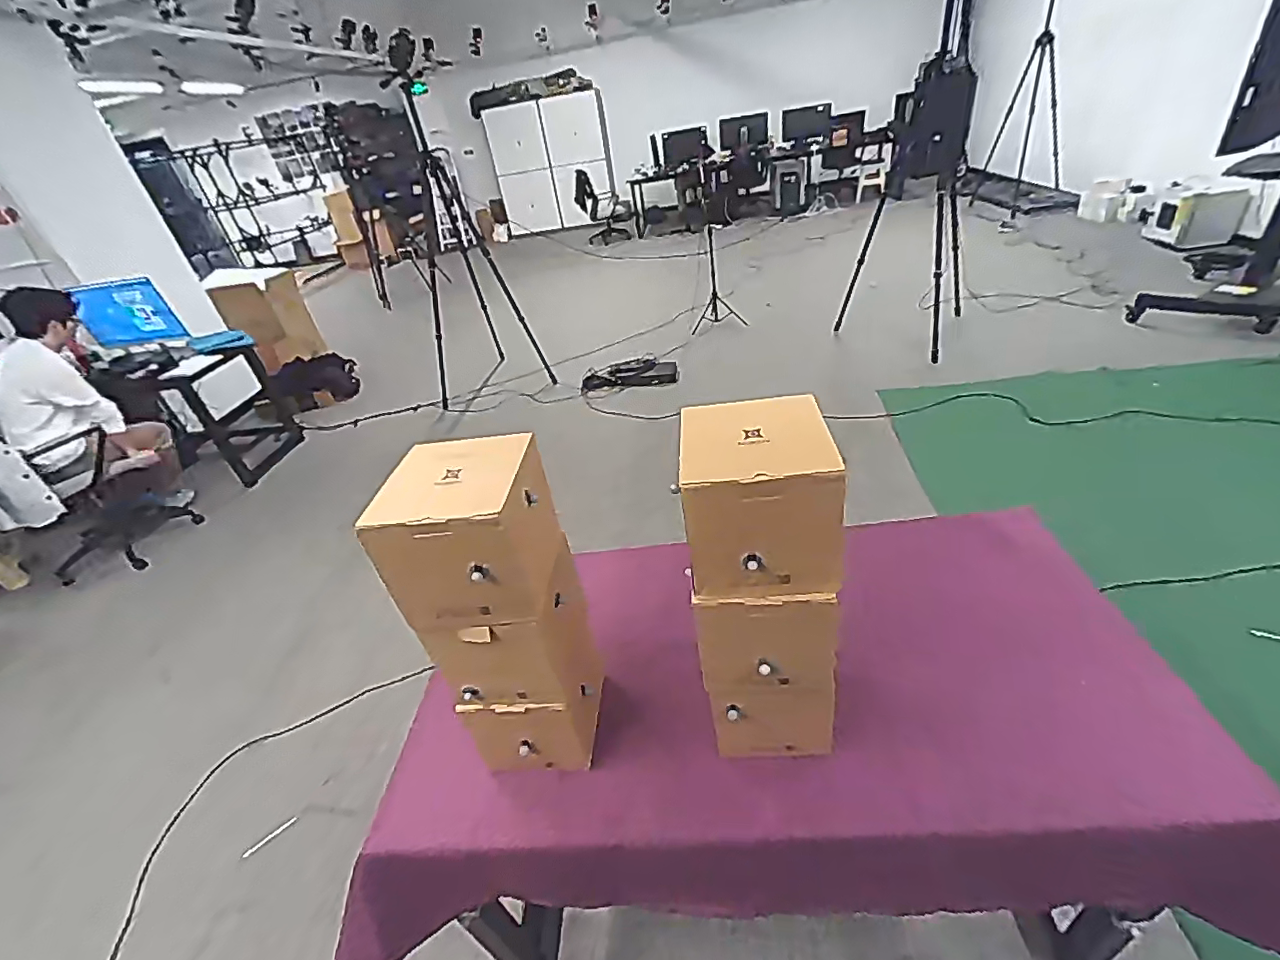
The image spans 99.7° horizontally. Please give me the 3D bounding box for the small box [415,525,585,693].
[{"bbox_3d":[-0.184,0.186,0.776,0.168,0.176,0.179,-4,34,9],"label":"small box"}]

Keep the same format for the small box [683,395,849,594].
[{"bbox_3d":[0.141,0.016,0.651,0.168,0.176,0.179,-4,35,8],"label":"small box"}]

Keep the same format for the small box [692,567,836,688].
[{"bbox_3d":[0.162,0.155,0.734,0.168,0.176,0.179,-3,35,10],"label":"small box"}]

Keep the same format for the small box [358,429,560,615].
[{"bbox_3d":[-0.207,0.056,0.681,0.168,0.176,0.179,-4,34,7],"label":"small box"}]

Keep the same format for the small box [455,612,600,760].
[{"bbox_3d":[-0.164,0.324,0.864,0.168,0.176,0.179,-3,36,8],"label":"small box"}]
